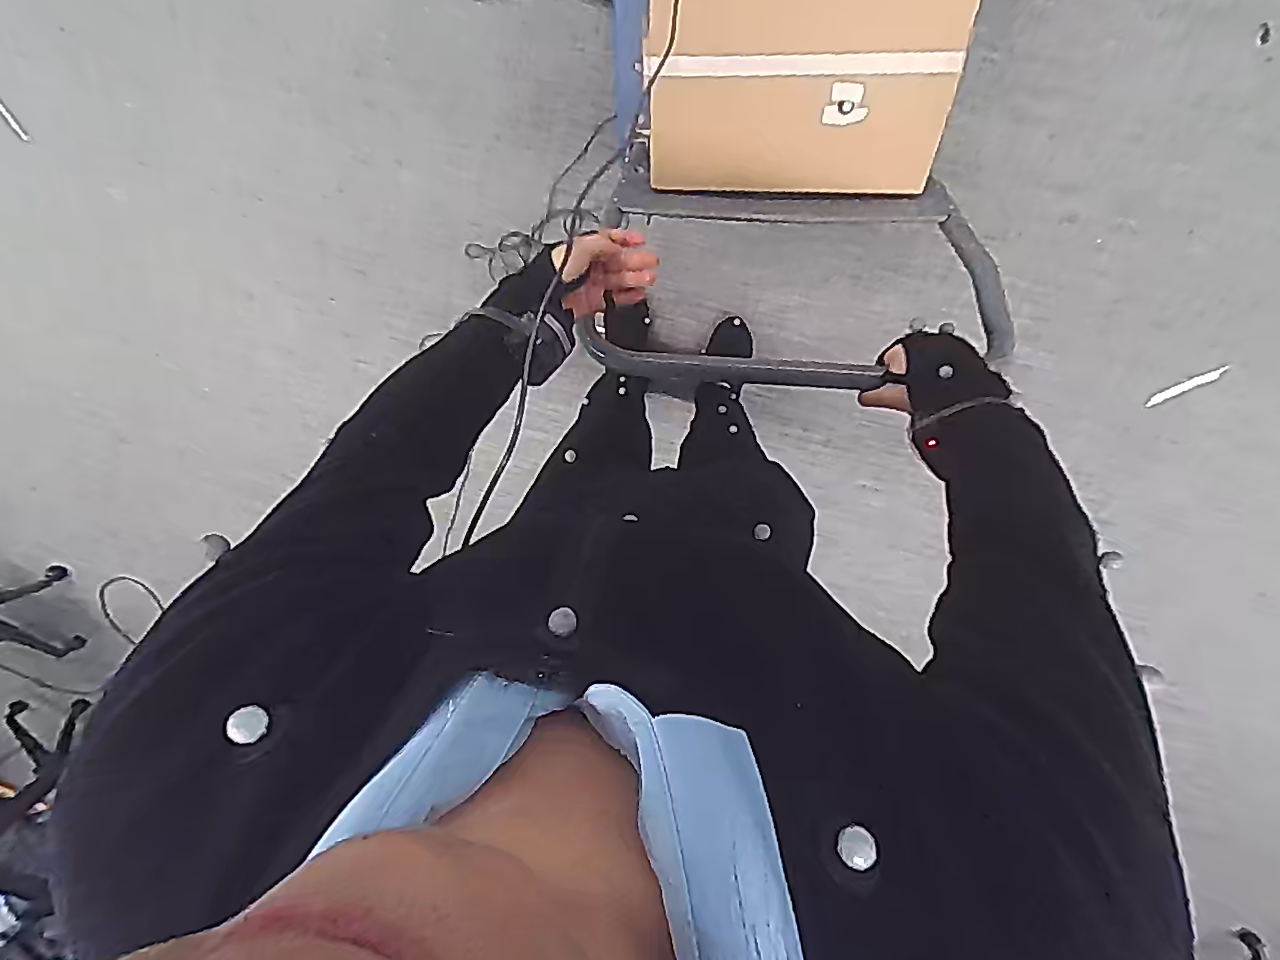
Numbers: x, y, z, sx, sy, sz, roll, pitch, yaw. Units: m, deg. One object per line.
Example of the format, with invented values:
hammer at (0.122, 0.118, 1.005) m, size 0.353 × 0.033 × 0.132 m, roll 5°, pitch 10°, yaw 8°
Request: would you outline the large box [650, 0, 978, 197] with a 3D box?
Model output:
large box at (0.228, -0.642, 0.823) m, size 0.408 × 0.320 × 0.320 m, roll 3°, pitch 133°, yaw 6°
